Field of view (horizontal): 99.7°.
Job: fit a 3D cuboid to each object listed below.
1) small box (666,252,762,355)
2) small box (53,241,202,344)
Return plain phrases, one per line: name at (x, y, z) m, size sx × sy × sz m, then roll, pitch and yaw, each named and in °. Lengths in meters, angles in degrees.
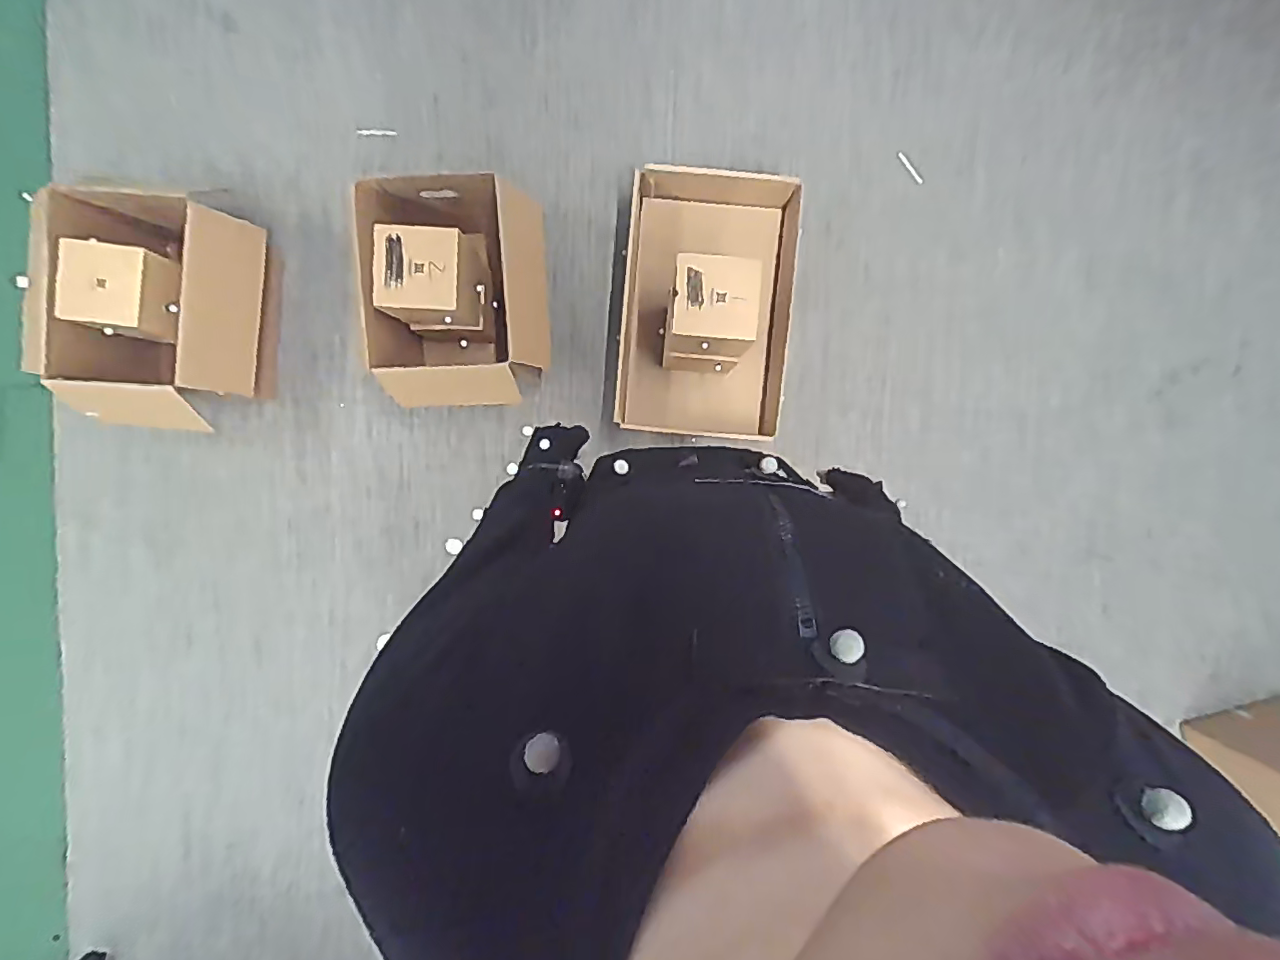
small box at (0.151, -0.372, 1.164) m, size 0.179 × 0.176 × 0.168 m, roll 4°, pitch 91°, yaw -2°
small box at (-1.117, -0.404, 1.193) m, size 0.179 × 0.176 × 0.168 m, roll 6°, pitch 92°, yaw -1°
